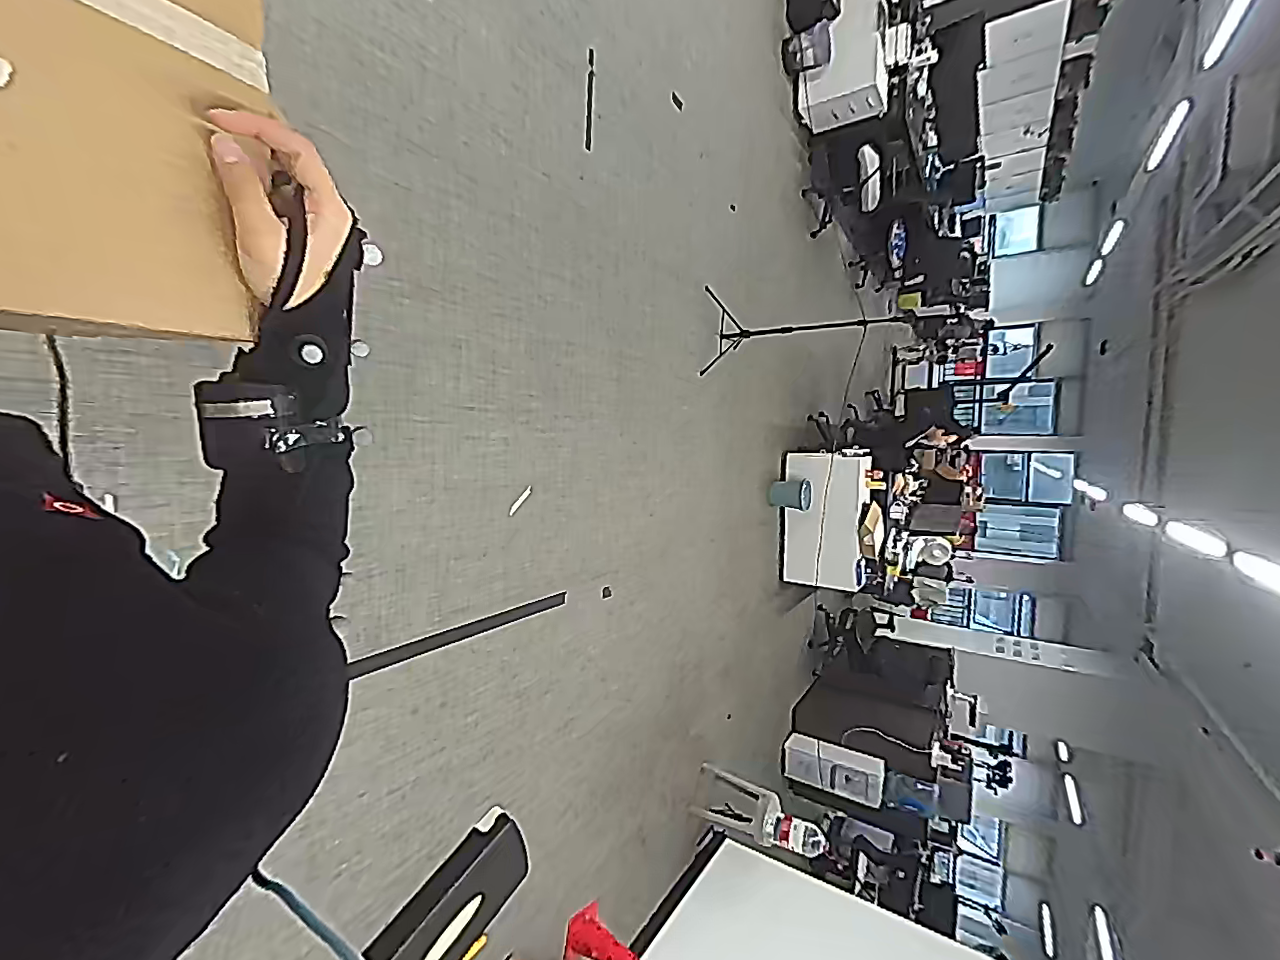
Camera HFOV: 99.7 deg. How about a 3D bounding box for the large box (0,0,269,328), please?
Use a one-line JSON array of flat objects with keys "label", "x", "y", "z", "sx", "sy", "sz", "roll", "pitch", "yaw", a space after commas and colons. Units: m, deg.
[{"label": "large box", "x": -0.461, "y": -0.250, "z": 0.232, "sx": 0.408, "sy": 0.320, "sz": 0.320, "roll": -10, "pitch": 108, "yaw": -60}]
